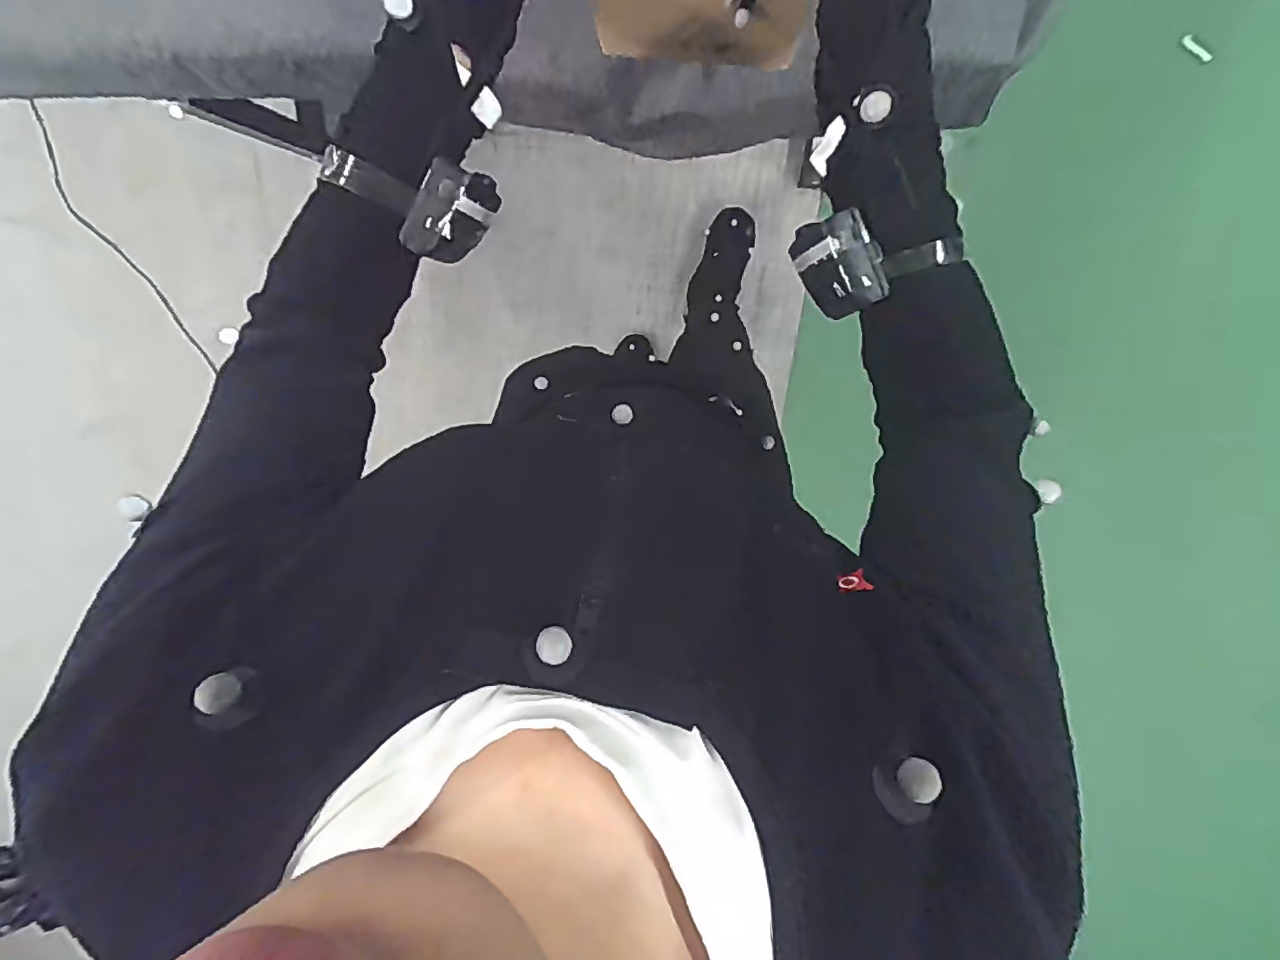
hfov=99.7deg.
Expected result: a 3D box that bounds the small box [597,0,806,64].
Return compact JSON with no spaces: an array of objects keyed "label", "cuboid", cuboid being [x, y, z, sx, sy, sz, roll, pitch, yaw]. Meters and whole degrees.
[{"label":"small box","cuboid":[0.052,-0.438,0.383,0.168,0.176,0.179,7,102,2]}]
